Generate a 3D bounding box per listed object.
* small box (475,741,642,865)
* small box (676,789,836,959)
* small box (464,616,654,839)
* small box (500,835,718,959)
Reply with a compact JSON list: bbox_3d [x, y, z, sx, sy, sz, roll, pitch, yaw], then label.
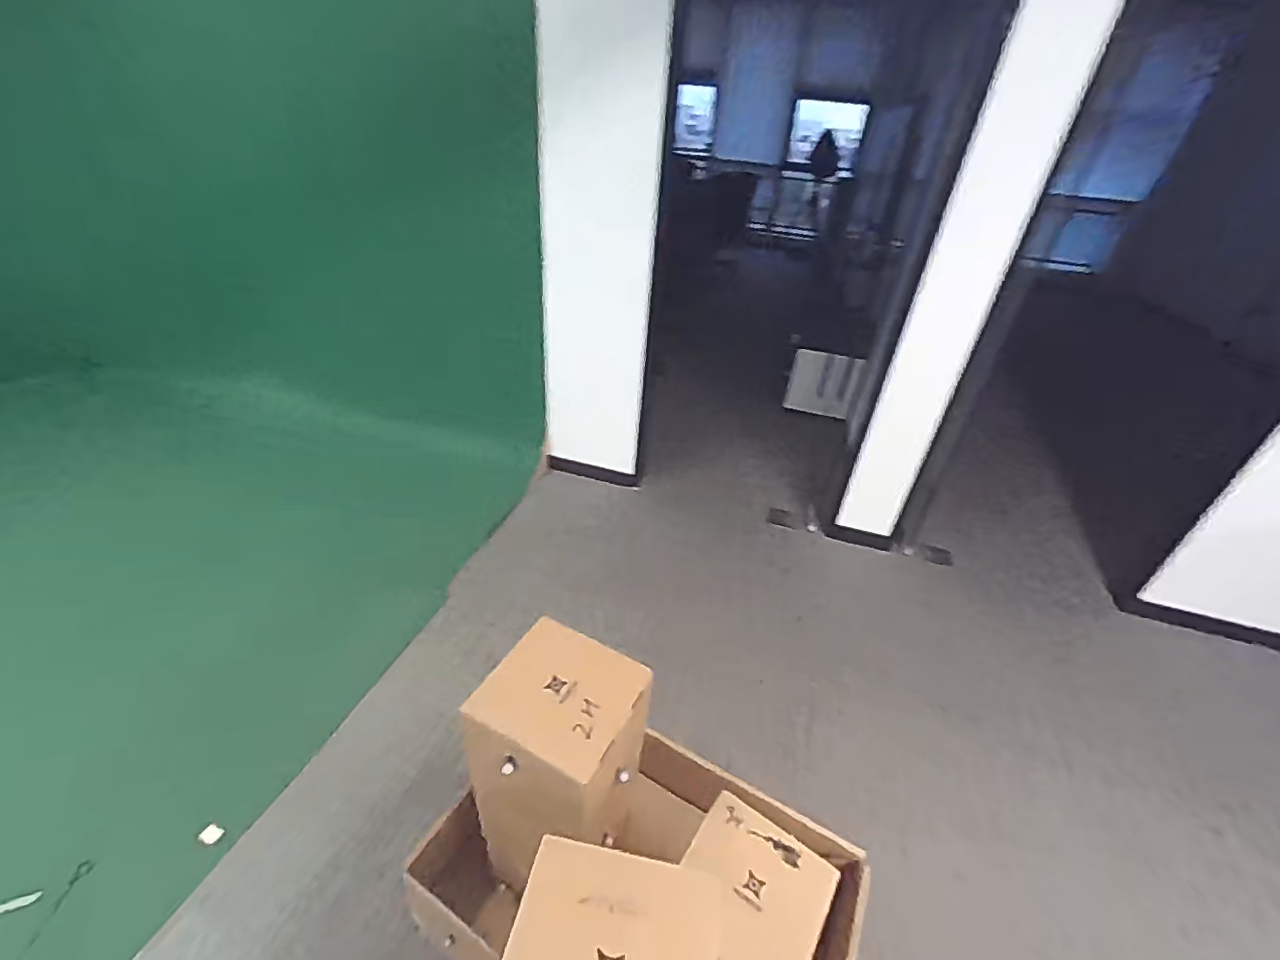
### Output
[{"bbox_3d":[-0.118,0.452,0.798,0.179,0.176,0.168,22,38,20],"label":"small box"},{"bbox_3d":[0.121,0.551,0.685,0.168,0.176,0.179,26,40,26],"label":"small box"},{"bbox_3d":[-0.102,0.319,0.702,0.179,0.176,0.168,22,38,19],"label":"small box"},{"bbox_3d":[-0.029,0.447,0.453,0.168,0.176,0.179,7,31,8],"label":"small box"}]
